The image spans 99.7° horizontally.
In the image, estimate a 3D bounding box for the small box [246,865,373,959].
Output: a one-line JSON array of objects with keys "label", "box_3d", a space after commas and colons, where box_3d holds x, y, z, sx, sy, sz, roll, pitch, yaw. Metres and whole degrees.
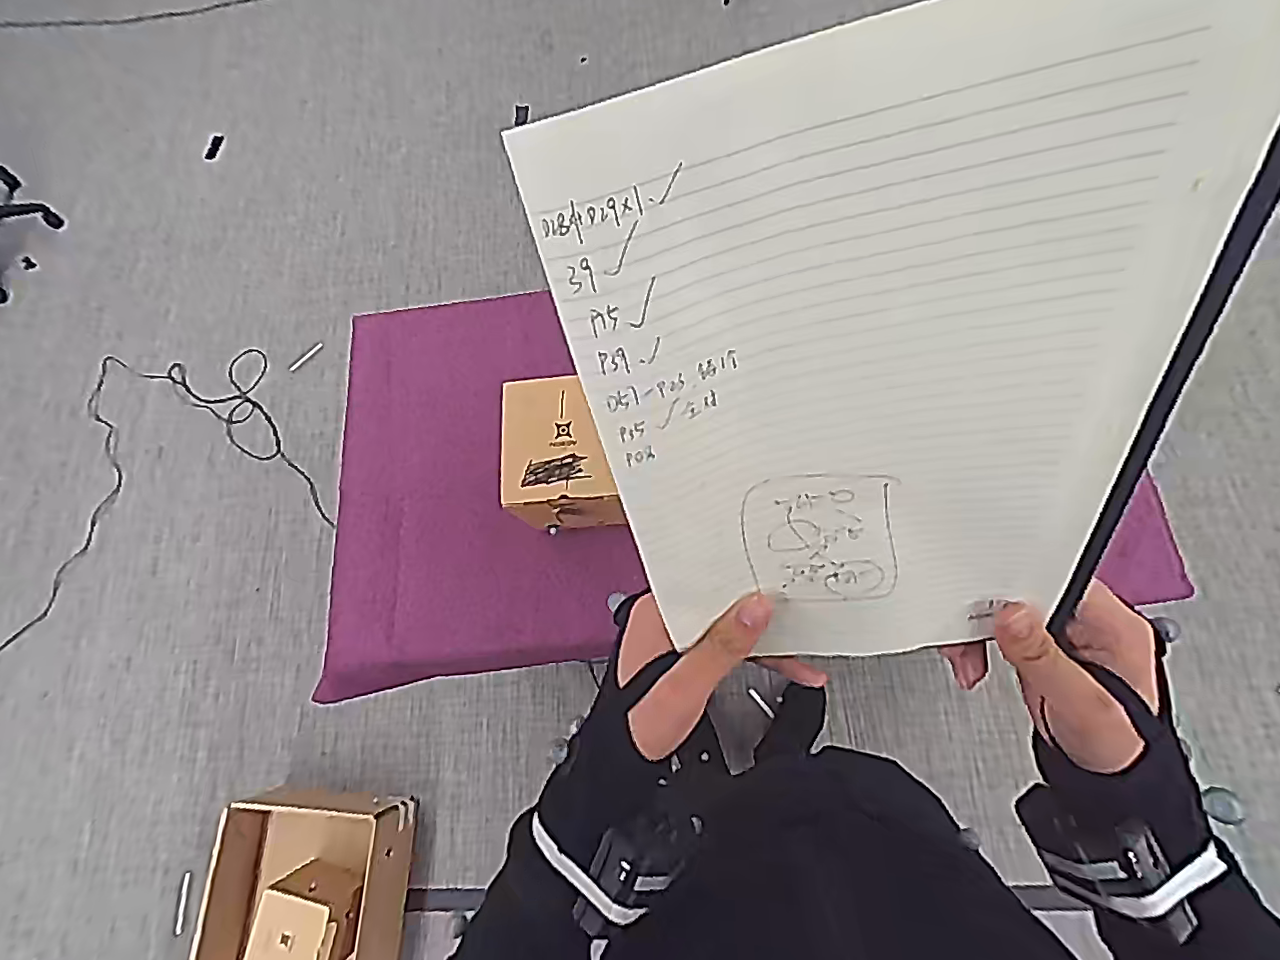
[{"label": "small box", "box_3d": [-0.762, 1.037, 1.261, 0.179, 0.176, 0.168, 8, 76, 9]}]

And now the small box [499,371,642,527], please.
[{"label": "small box", "box_3d": [-0.091, -0.033, 0.770, 0.168, 0.176, 0.179, -5, 73, 5]}]
